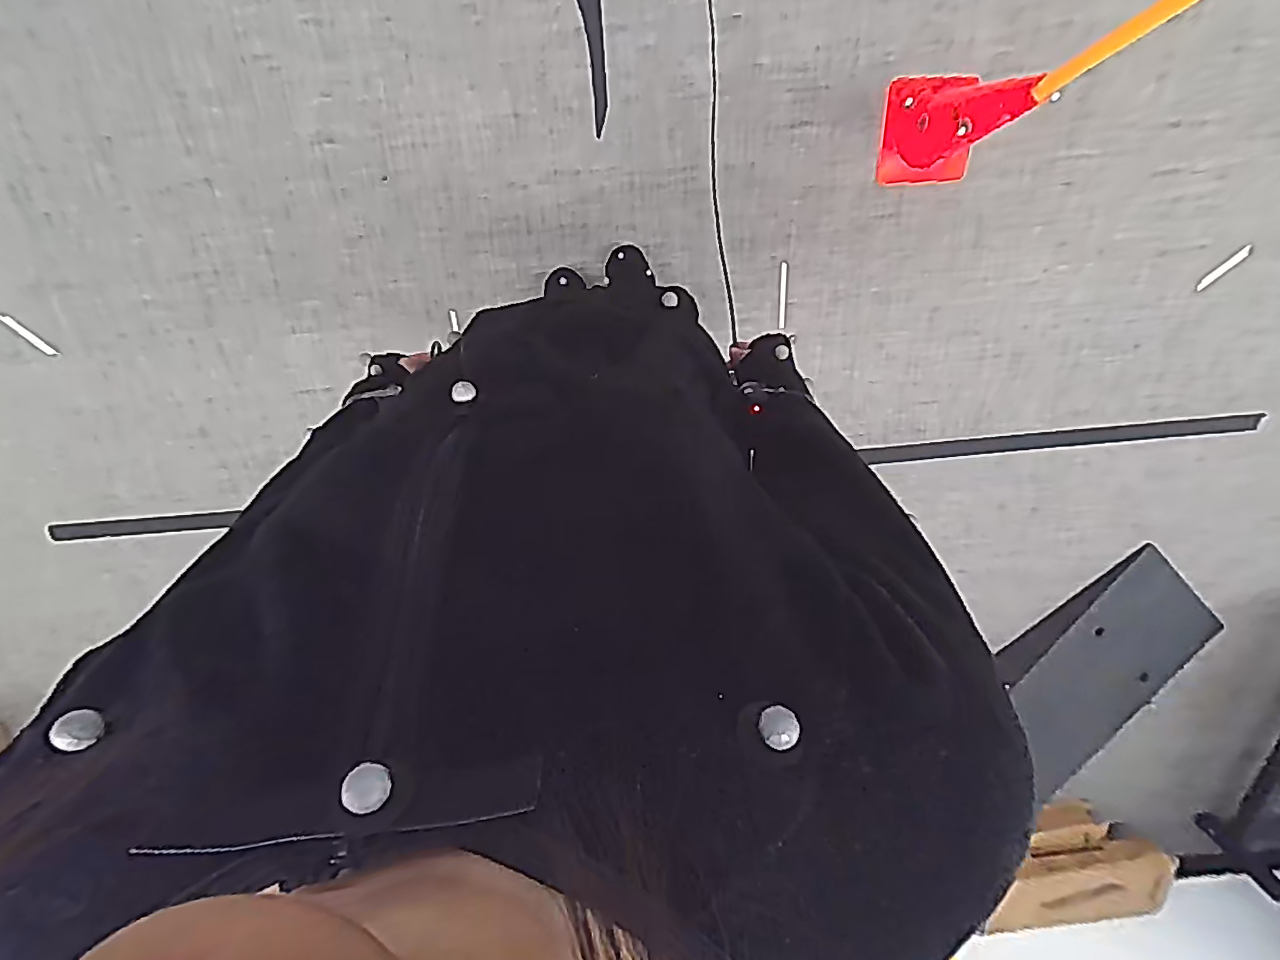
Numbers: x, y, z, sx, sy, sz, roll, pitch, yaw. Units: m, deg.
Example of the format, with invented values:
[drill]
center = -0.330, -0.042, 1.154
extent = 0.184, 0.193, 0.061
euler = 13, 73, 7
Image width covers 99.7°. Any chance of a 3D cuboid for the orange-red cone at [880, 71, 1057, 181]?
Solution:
[orange-red cone]
center = 0.634, -0.689, 1.011
extent = 0.198, 0.360, 0.199
euler = -1, 114, -1
